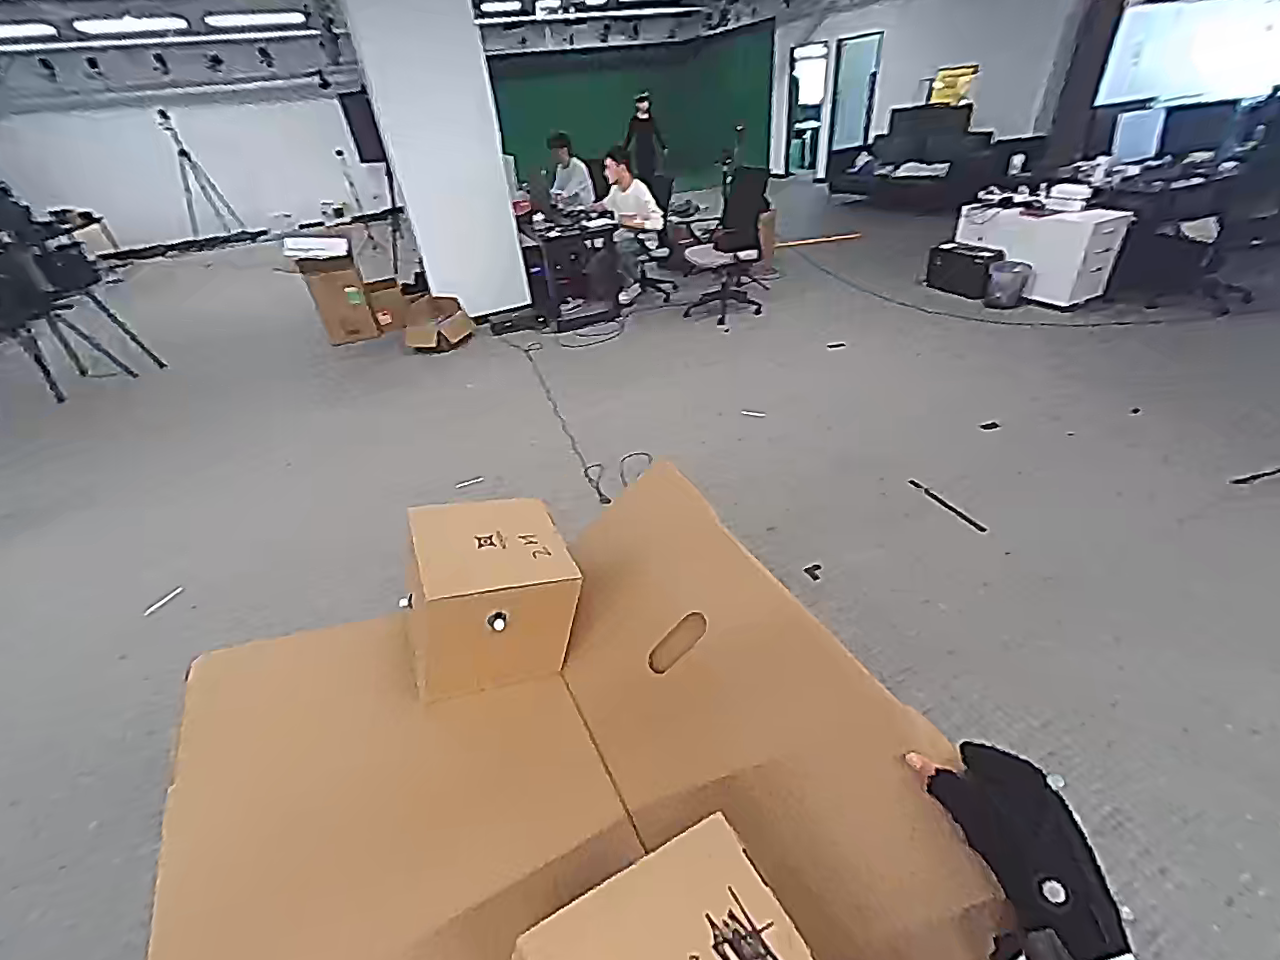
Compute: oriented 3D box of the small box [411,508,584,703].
[{"bbox_3d":[-0.190,0.154,0.688,0.179,0.176,0.168,-3,35,-28],"label":"small box"}]
